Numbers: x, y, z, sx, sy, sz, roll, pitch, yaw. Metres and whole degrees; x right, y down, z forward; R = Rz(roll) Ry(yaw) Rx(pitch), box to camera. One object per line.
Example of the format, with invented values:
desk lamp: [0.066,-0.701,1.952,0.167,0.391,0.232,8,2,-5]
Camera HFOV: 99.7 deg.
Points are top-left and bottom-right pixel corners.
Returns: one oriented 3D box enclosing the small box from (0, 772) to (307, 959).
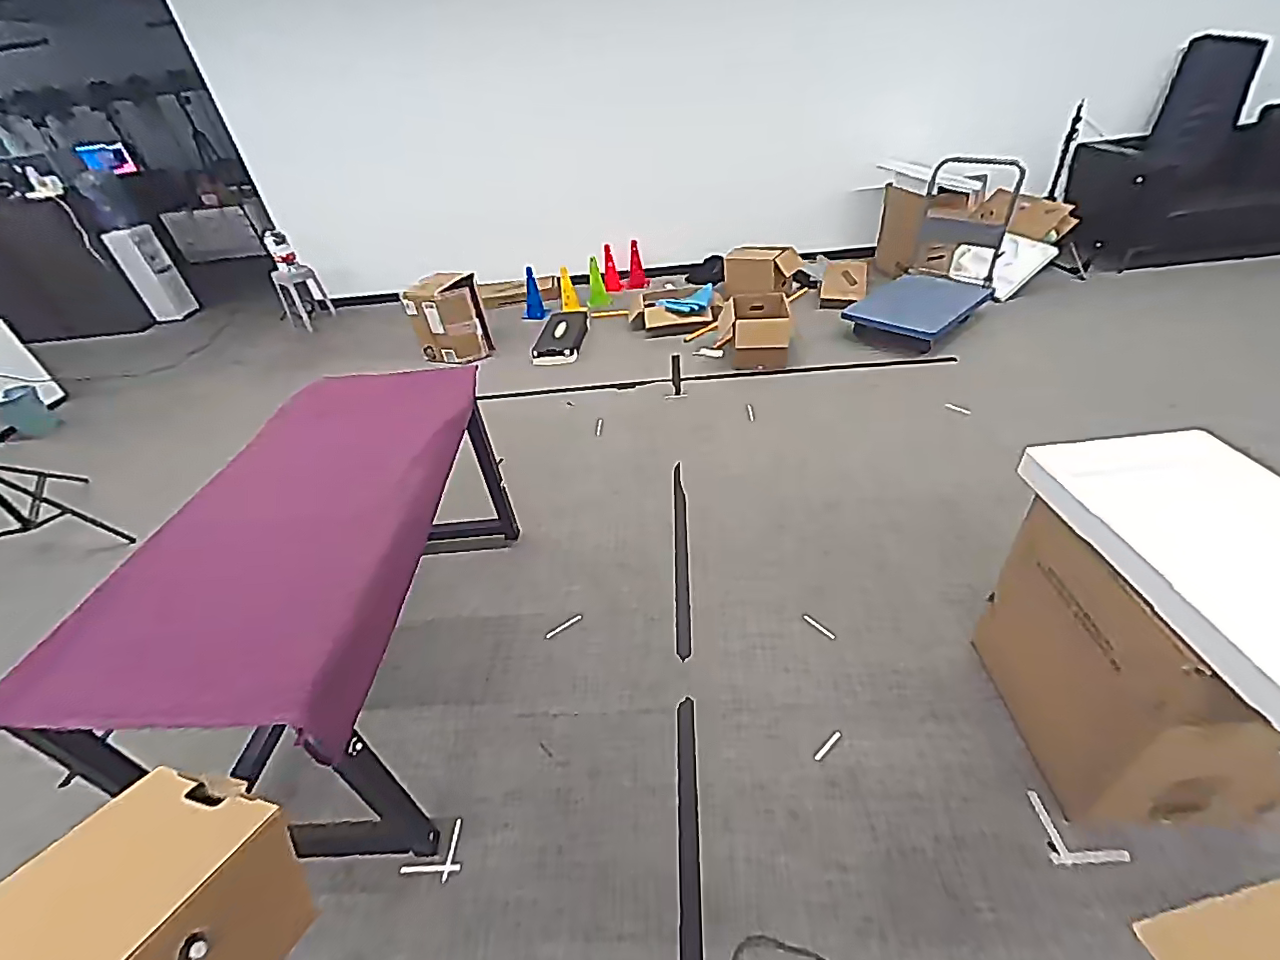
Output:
small box: [-0.445,0.416,0.492,0.168,0.176,0.179,6,20,15]
